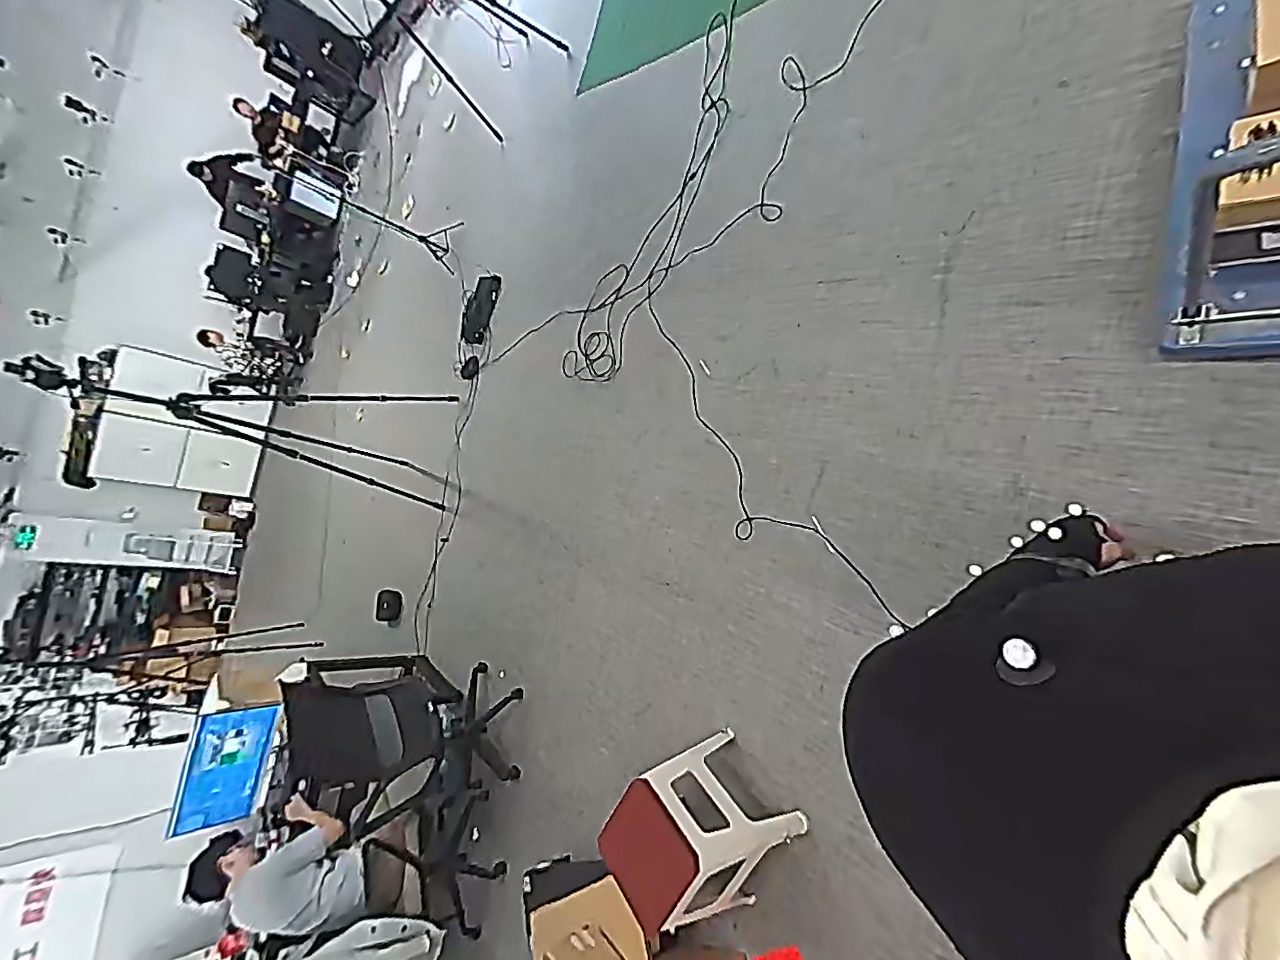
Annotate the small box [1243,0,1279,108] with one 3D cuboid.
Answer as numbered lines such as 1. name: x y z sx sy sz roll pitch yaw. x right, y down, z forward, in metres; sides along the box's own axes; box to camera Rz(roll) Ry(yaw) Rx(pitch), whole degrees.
1. small box: 1.250 -0.835 0.999 0.168 0.176 0.179 2 82 44
